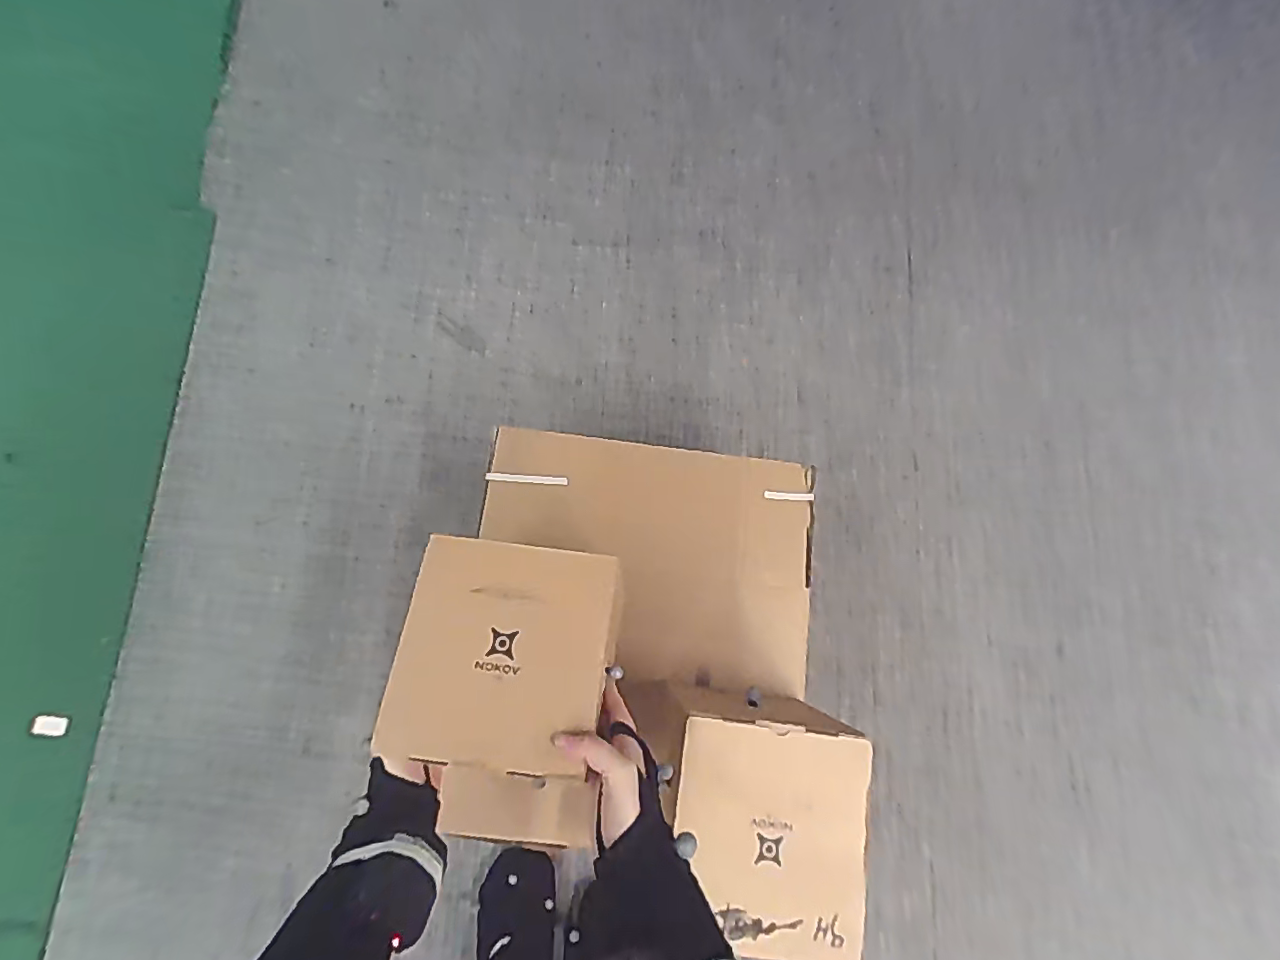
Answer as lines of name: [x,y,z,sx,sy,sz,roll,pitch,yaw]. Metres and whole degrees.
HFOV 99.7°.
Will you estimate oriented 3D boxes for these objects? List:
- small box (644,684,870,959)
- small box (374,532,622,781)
small box: [0.100,0.305,0.522,0.168,0.176,0.179,9,77,-2]
small box: [-0.110,0.164,0.508,0.168,0.176,0.179,7,67,3]
